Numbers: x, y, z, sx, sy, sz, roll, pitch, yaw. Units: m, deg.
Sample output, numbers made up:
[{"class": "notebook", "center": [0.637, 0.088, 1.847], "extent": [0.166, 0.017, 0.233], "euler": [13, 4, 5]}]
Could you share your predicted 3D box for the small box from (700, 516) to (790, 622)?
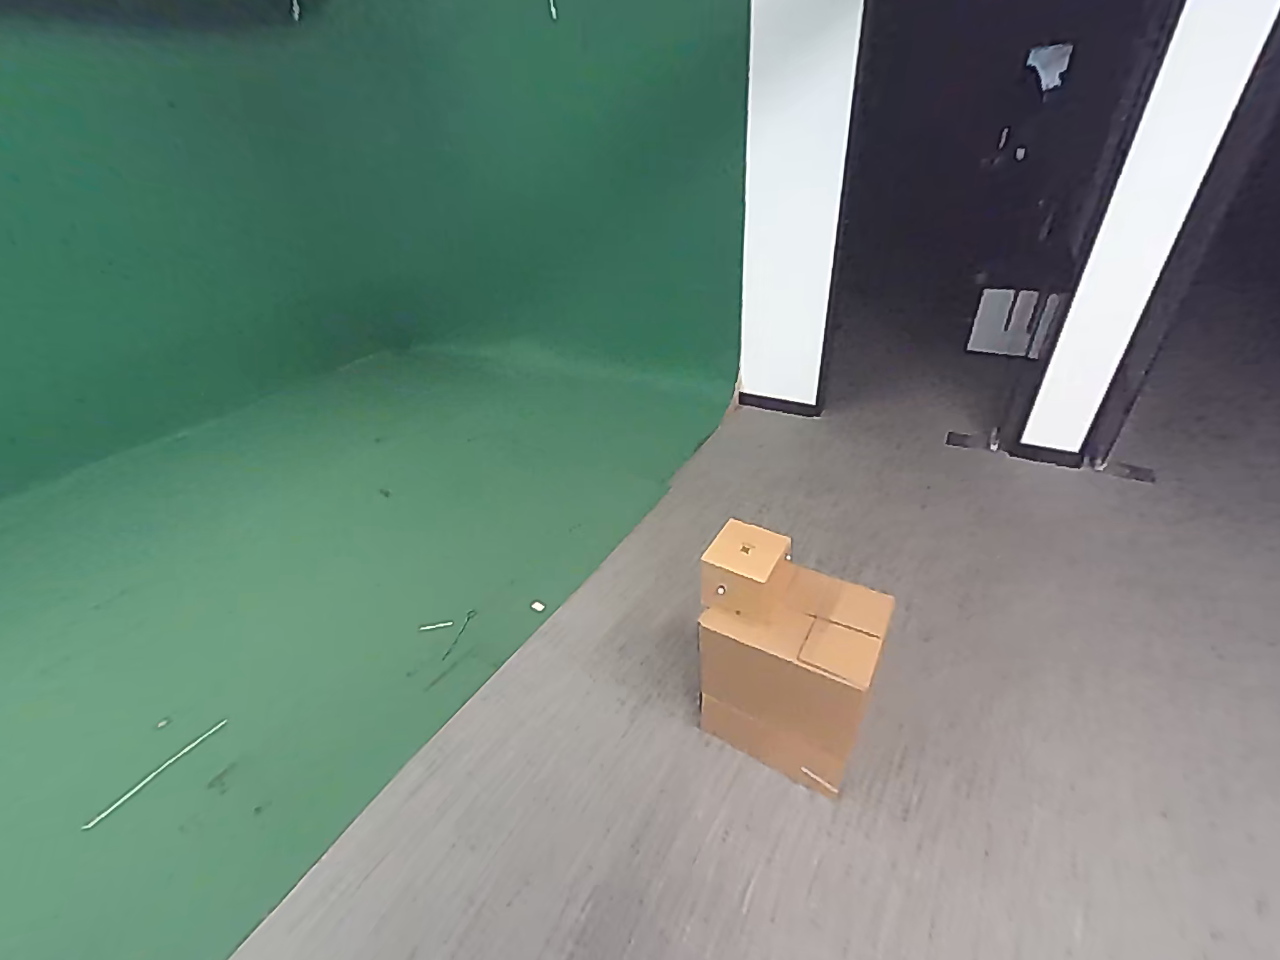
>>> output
[{"class": "small box", "center": [0.263, 0.225, 1.361], "extent": [0.168, 0.176, 0.179], "euler": [19, 42, 28]}]
